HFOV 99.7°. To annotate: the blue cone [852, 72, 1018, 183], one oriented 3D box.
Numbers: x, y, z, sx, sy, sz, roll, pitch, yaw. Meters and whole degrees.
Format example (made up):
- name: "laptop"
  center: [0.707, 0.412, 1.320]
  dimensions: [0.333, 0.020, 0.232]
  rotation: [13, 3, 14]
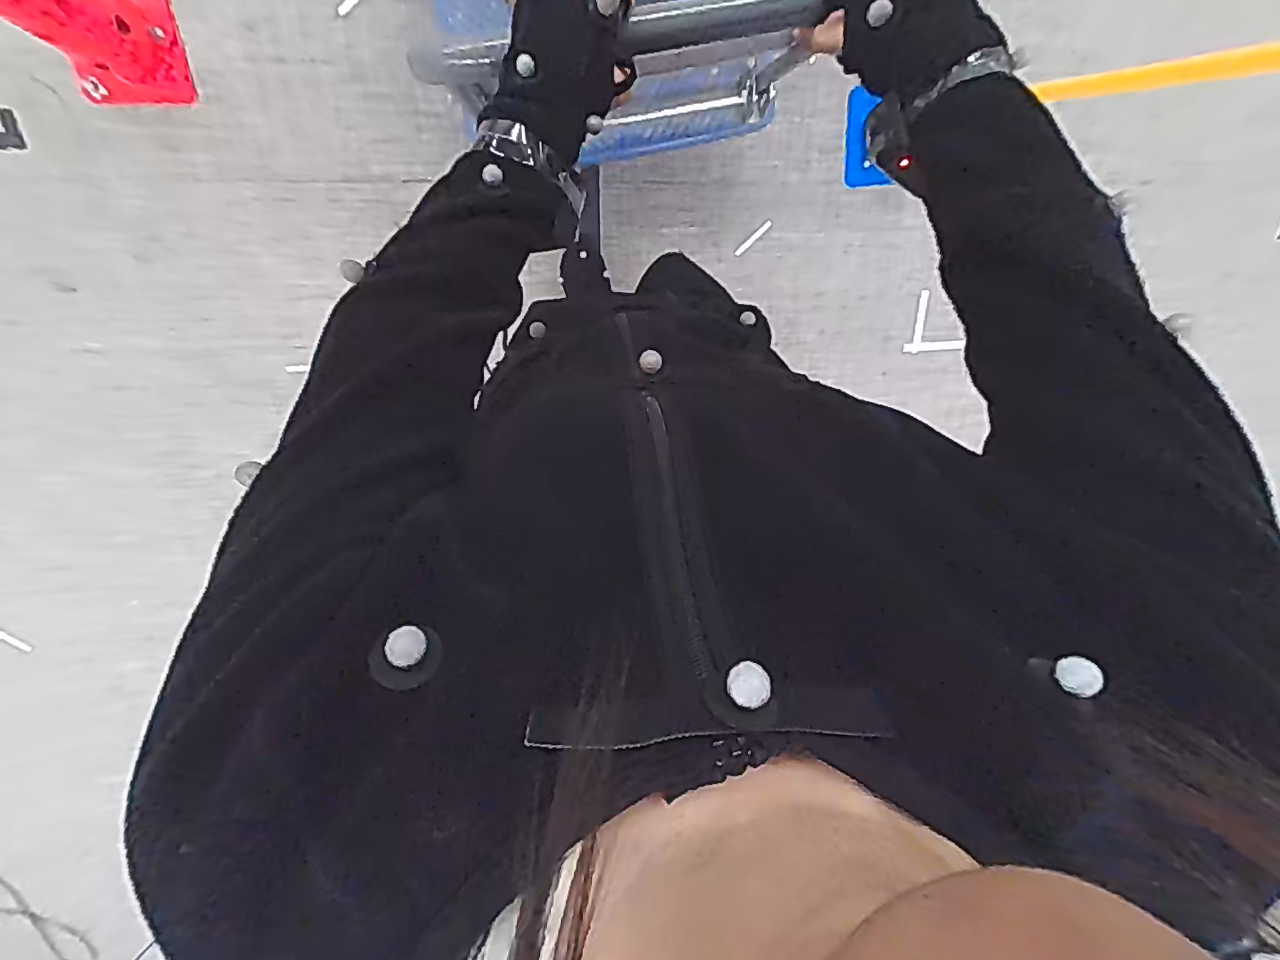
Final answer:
- name: "blue cone"
  center: [0.591, -0.720, 1.072]
  dimensions: [0.193, 0.380, 0.192]
  rotation: [-6, 113, -5]
